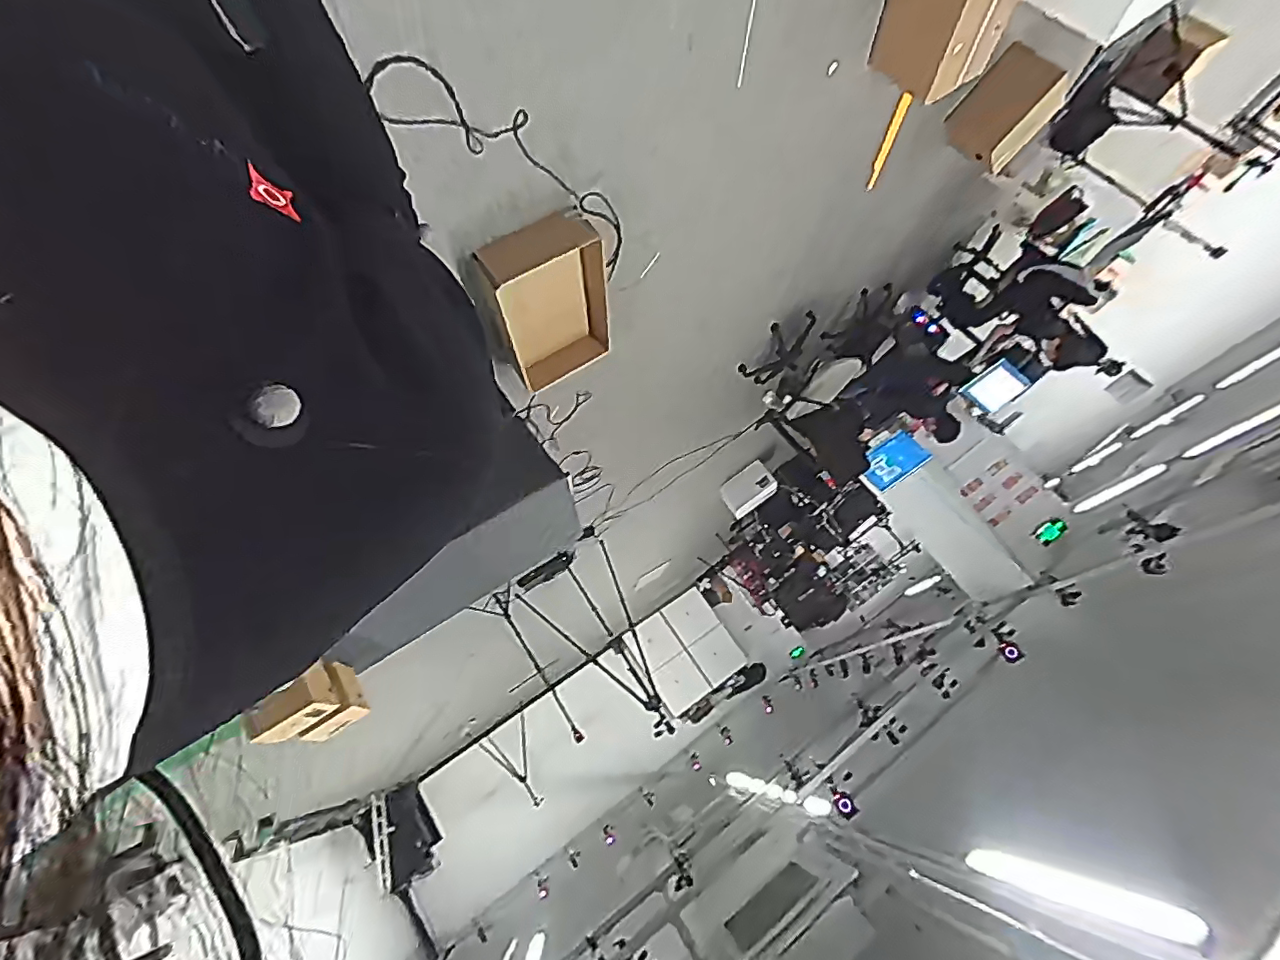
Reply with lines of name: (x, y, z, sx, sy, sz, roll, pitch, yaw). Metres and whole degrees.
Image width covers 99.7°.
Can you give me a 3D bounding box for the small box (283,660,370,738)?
small box: (-1.016, 0.711, 1.756, 0.168, 0.176, 0.179, -31, 159, -20)
